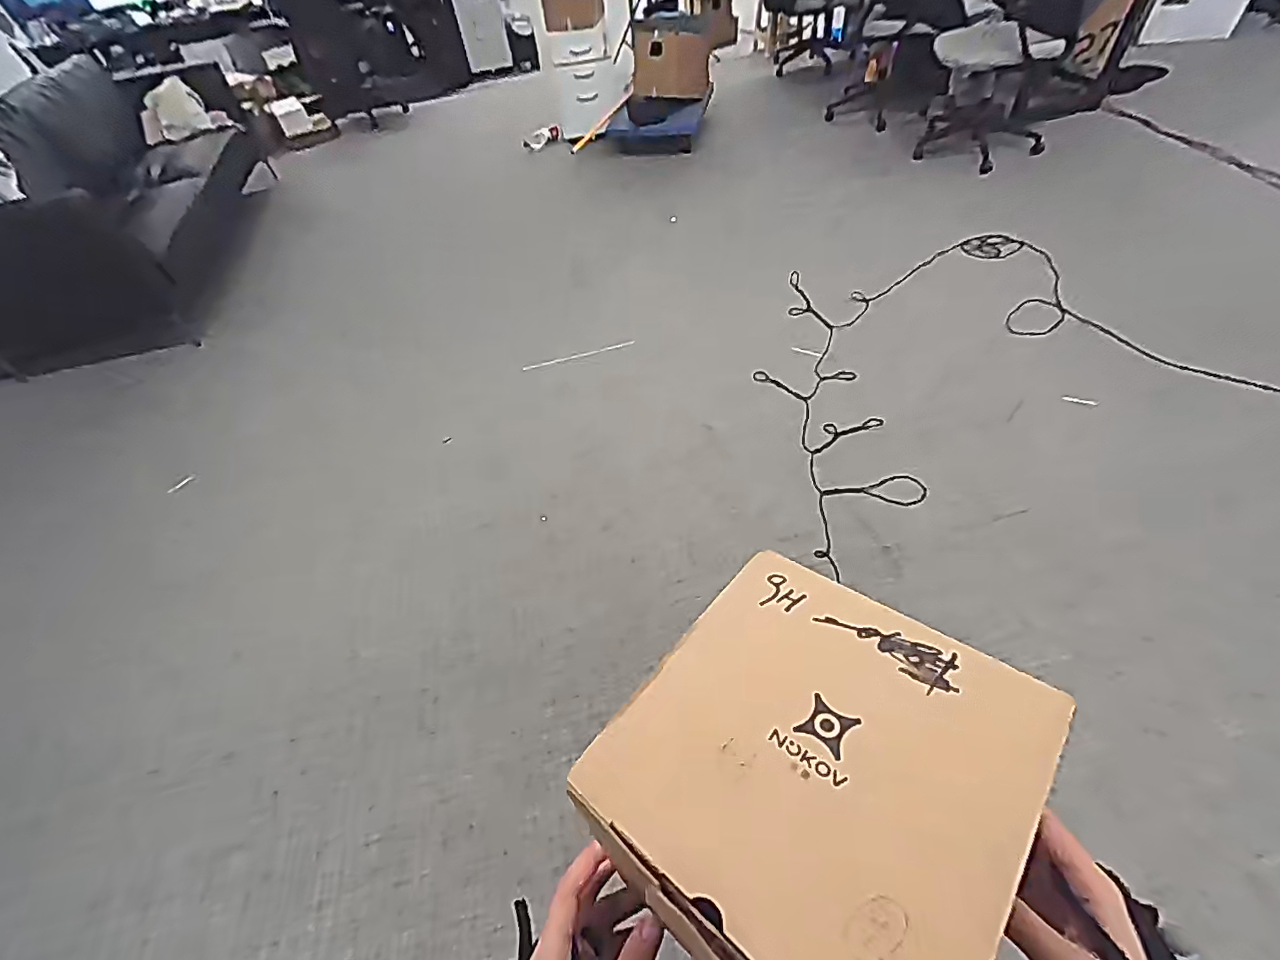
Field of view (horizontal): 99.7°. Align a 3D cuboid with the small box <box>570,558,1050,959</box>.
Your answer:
[{"bbox_3d":[0.092,0.186,0.311,0.168,0.176,0.179,25,52,35],"label":"small box"}]
